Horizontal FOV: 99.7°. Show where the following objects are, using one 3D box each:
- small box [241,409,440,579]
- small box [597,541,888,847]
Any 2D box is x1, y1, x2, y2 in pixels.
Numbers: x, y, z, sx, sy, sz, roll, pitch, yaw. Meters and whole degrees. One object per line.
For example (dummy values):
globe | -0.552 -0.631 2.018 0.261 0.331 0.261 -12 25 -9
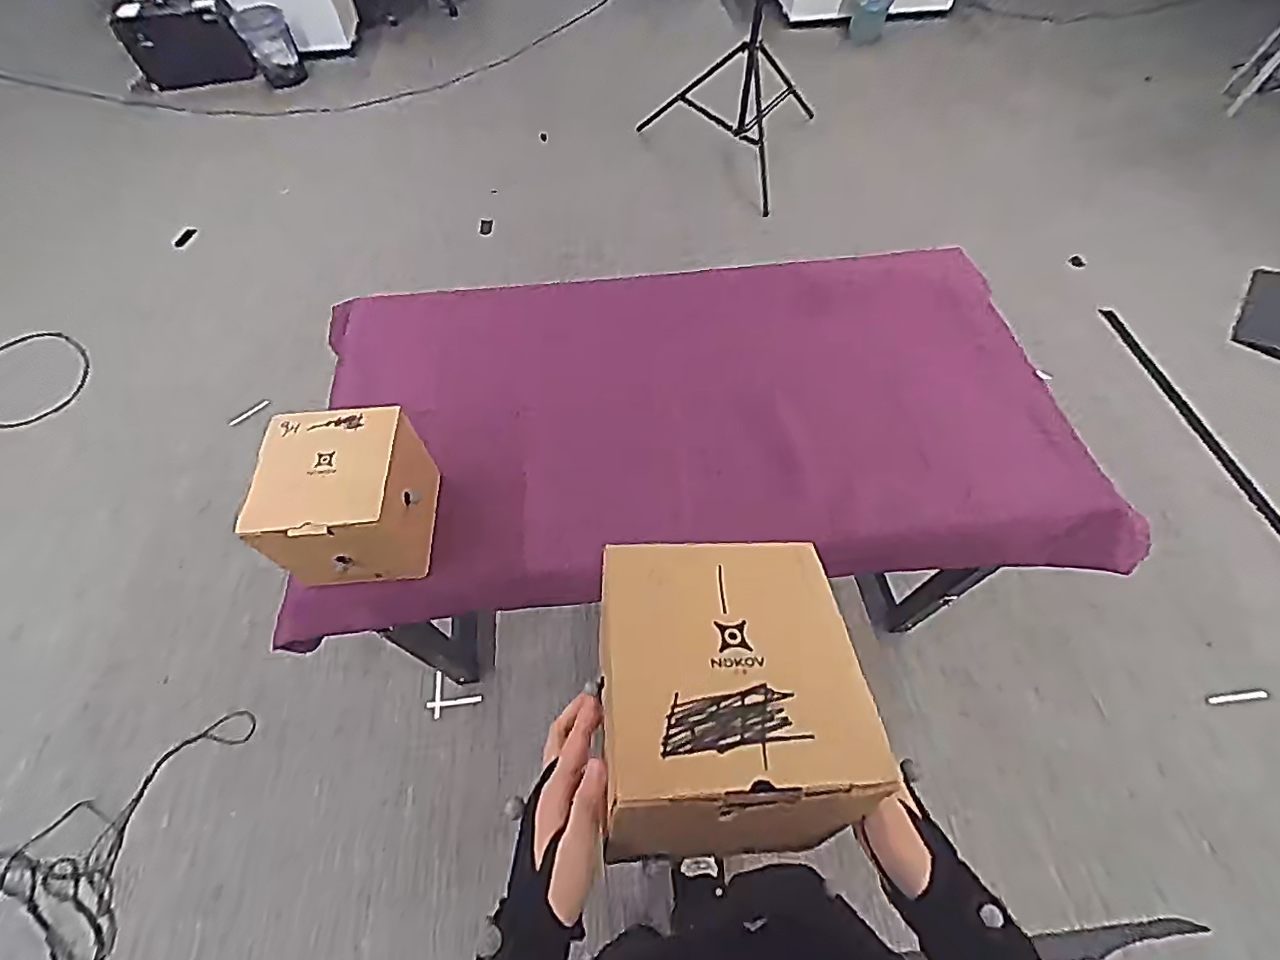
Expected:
small box | -0.384 0.027 0.733 0.168 0.176 0.179 -4 59 -3
small box | 0.053 0.167 0.418 0.168 0.176 0.179 0 45 -7
